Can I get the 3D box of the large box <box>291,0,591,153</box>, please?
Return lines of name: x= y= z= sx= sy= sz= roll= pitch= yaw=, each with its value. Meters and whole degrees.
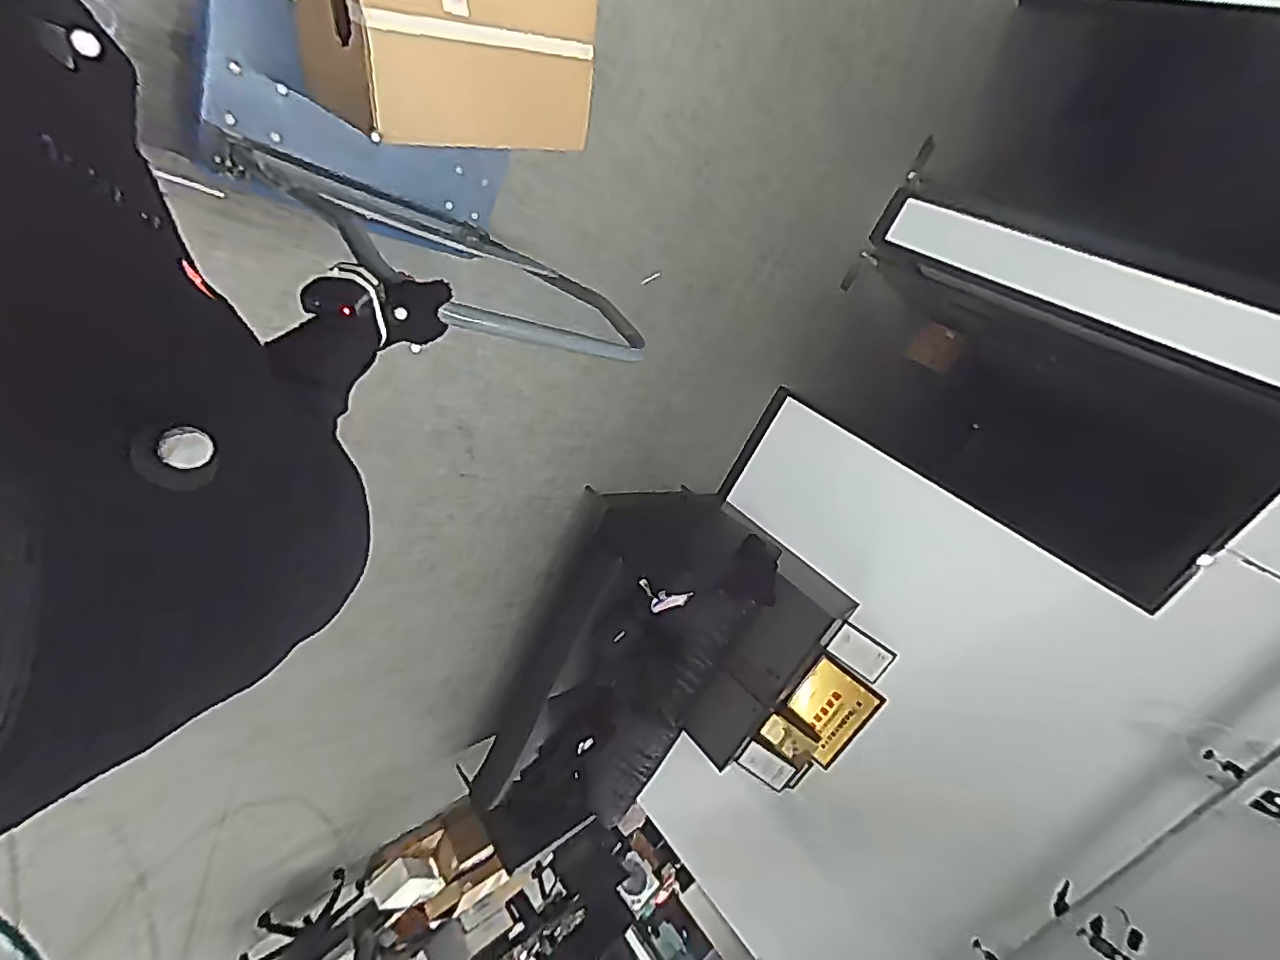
large box: x=-0.341 y=-0.787 z=0.938 sx=0.408 sy=0.320 sz=0.320 roll=-23 pitch=140 yaw=-35
